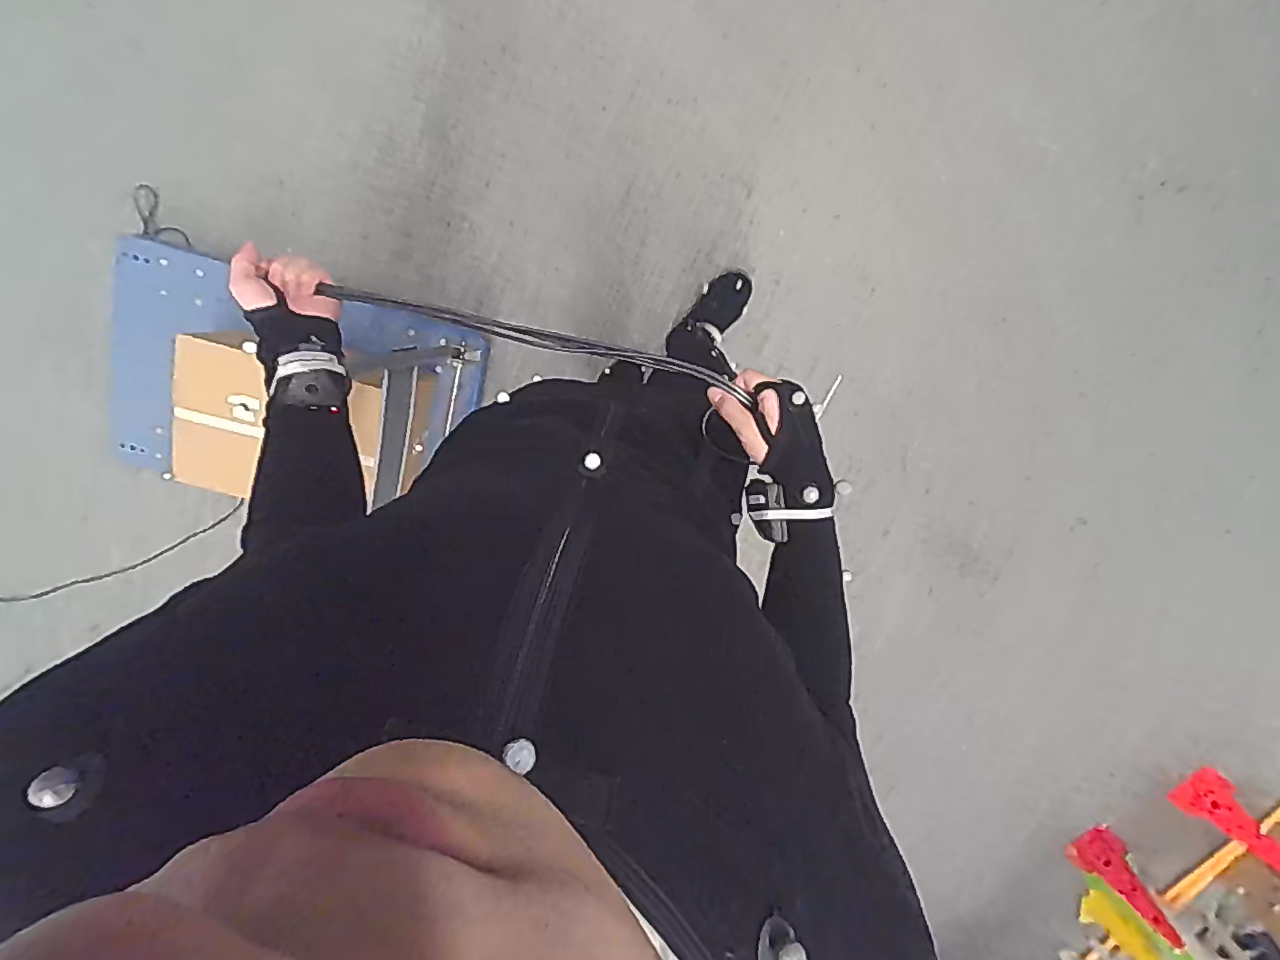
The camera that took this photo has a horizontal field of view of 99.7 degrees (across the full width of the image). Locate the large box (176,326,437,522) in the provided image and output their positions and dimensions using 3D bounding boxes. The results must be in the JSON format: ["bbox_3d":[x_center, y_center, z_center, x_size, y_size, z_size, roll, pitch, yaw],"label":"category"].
[{"bbox_3d":[-0.729,-0.142,1.237,0.408,0.320,0.320,15,106,-5],"label":"large box"}]
